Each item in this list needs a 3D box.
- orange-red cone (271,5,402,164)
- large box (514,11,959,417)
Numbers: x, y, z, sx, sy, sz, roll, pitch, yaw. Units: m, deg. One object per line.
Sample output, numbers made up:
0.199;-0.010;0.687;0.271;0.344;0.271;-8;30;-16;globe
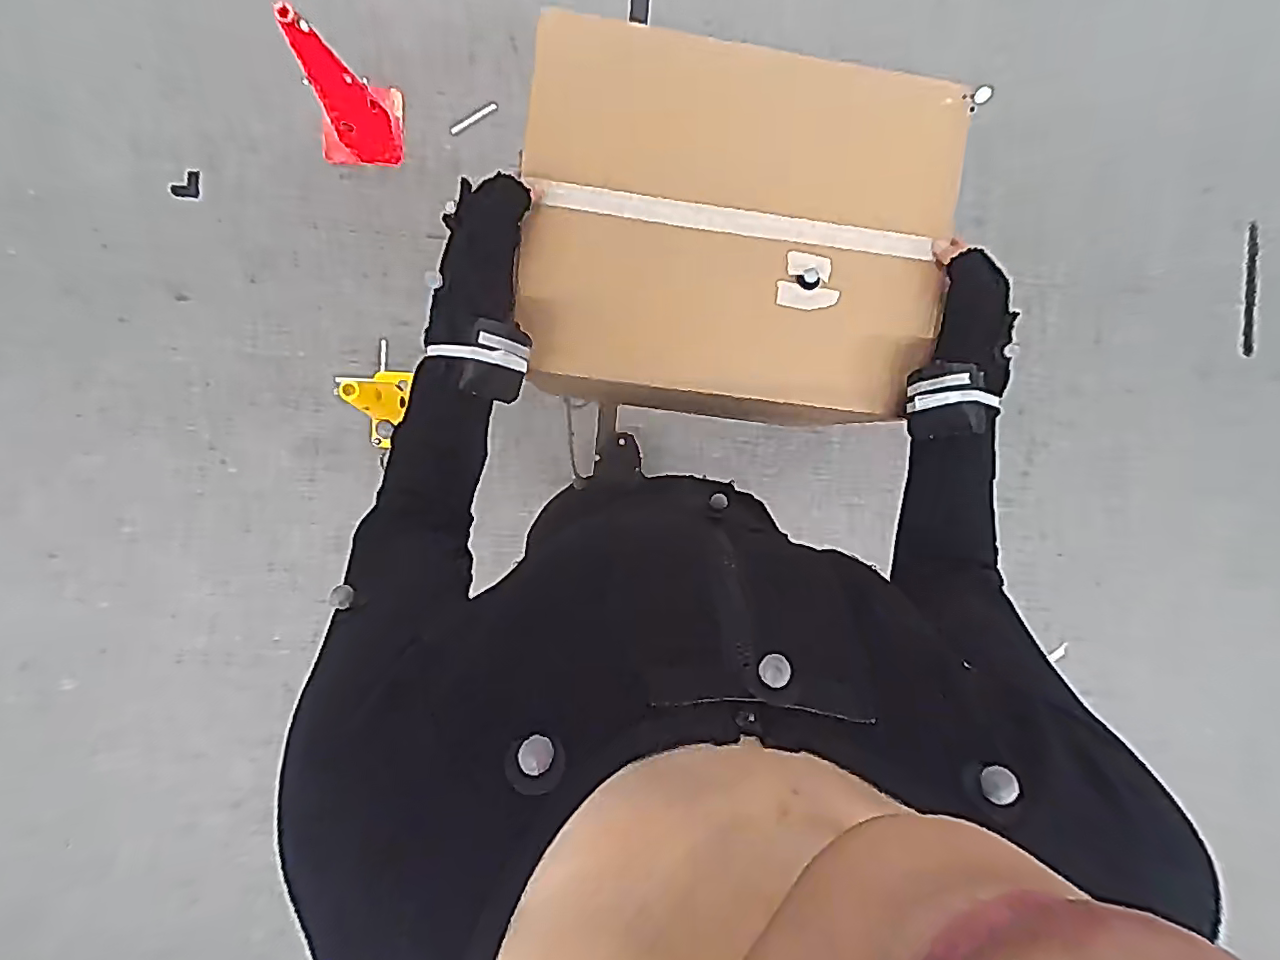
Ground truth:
-0.712;-0.919;1.236;0.198;0.360;0.199;1;92;-3;orange-red cone
0.079;-0.255;0.650;0.408;0.320;0.320;6;94;-6;large box
